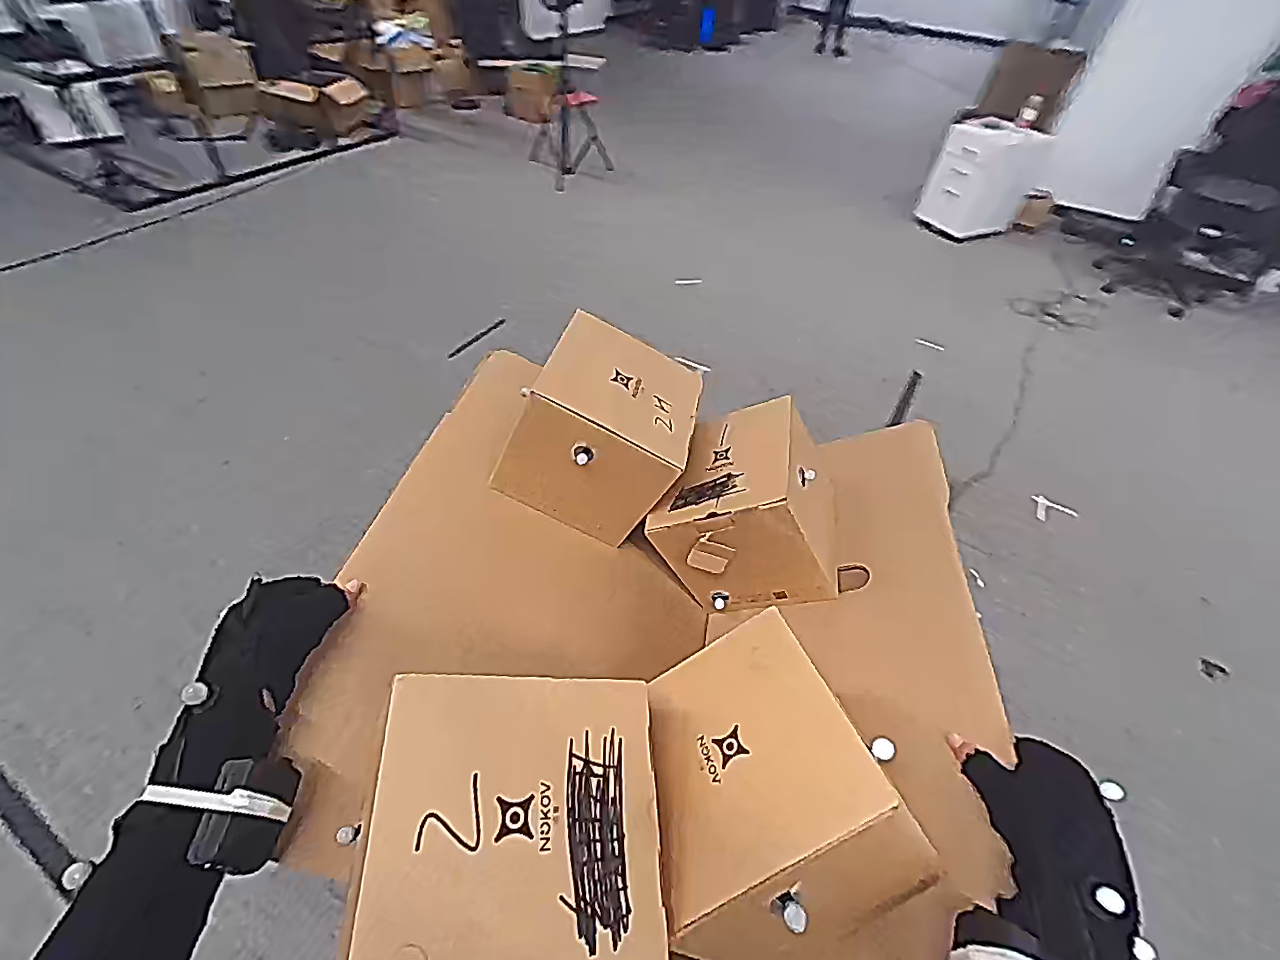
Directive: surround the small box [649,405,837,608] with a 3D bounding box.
[{"bbox_3d":[0.136,0.043,0.664,0.168,0.176,0.179,-14,37,30],"label":"small box"}]
